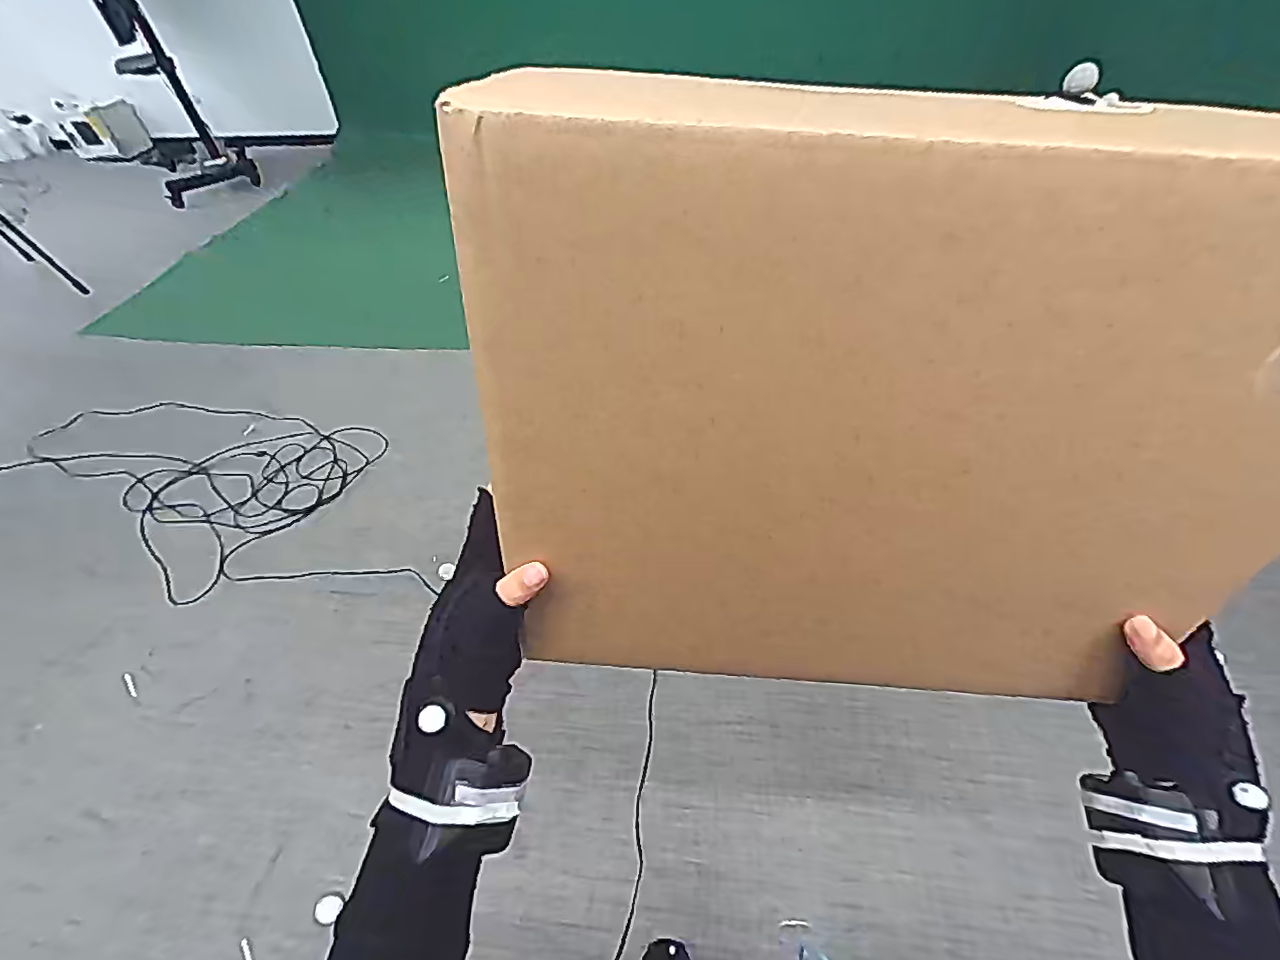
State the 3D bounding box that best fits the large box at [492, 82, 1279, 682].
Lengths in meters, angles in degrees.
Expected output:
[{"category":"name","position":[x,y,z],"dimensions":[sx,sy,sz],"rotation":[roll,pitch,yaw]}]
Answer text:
[{"category":"large box","position":[0.136,-0.080,0.395],"dimensions":[0.408,0.320,0.320],"rotation":[4,38,-1]}]
